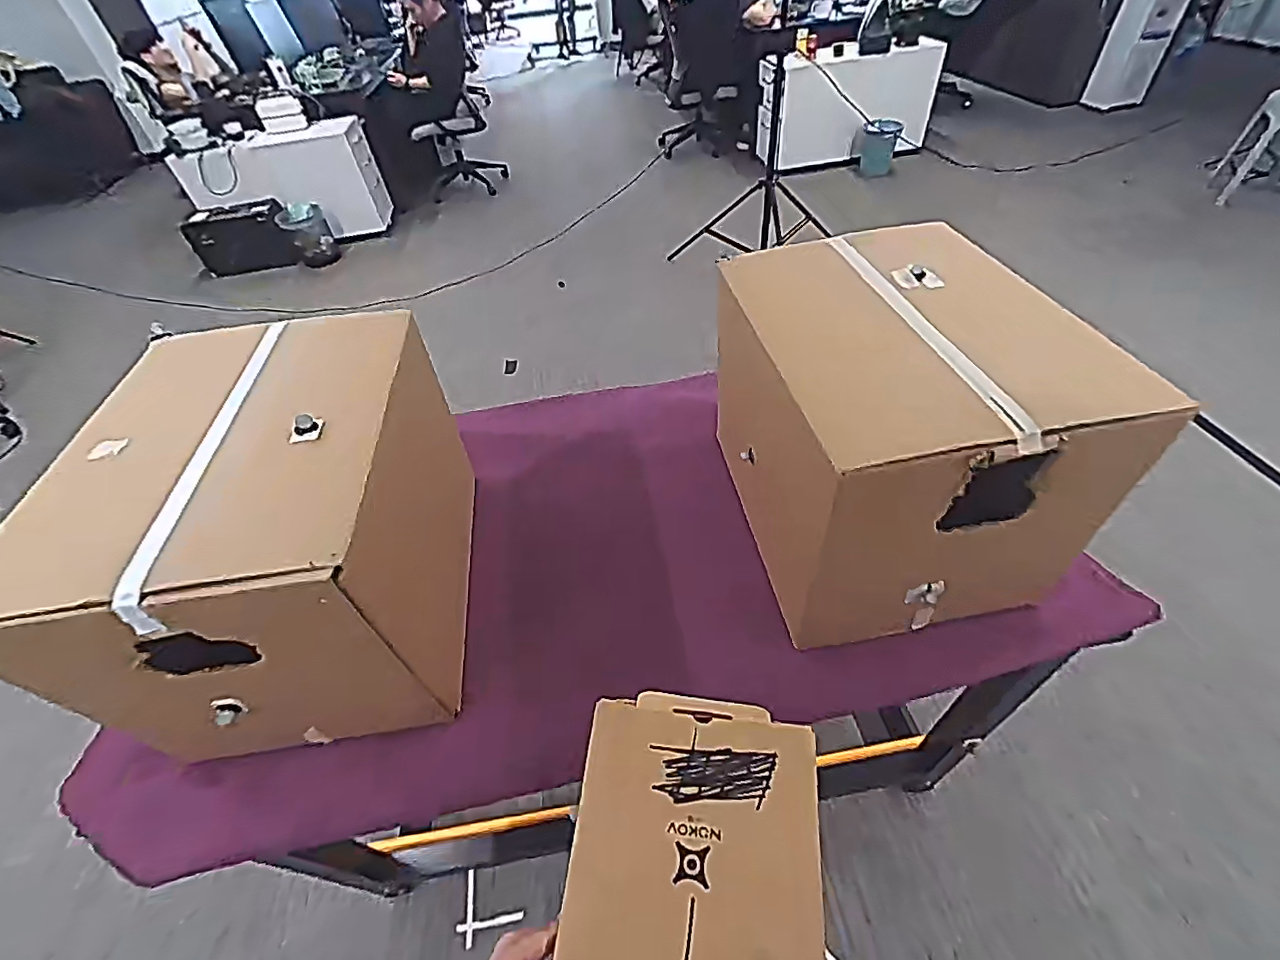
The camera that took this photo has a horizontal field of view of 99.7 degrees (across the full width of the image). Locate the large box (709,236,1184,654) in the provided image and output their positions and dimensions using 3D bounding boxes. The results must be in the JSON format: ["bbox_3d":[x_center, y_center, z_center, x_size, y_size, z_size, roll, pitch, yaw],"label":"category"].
[{"bbox_3d":[0.290,-0.057,0.685,0.320,0.320,0.408,-10,45,-3],"label":"large box"}]

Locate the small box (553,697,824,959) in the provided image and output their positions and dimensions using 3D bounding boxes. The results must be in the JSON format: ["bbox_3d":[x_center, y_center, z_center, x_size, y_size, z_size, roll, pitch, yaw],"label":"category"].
[{"bbox_3d":[0.040,0.293,0.426,0.168,0.176,0.179,4,53,7],"label":"small box"}]
